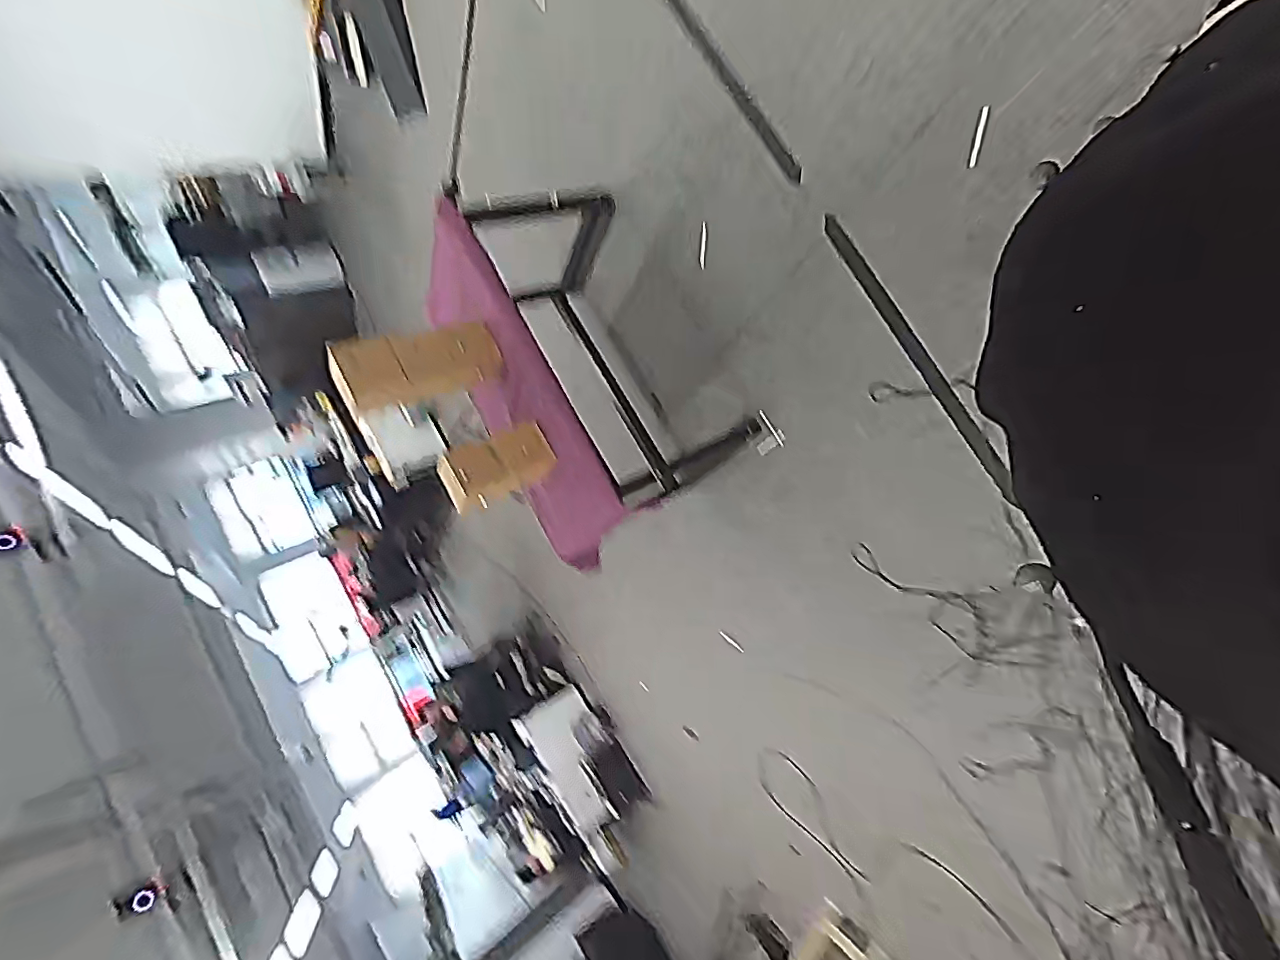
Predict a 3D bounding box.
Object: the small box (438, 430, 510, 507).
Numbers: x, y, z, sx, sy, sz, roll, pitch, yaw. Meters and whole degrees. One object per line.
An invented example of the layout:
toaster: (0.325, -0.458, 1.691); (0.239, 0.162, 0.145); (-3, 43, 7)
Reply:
small box: (-0.547, -0.040, 1.783); (0.168, 0.176, 0.179); (58, 149, 10)

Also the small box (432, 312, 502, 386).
small box: (-0.604, -0.459, 1.888); (0.179, 0.176, 0.168); (61, 147, 7)

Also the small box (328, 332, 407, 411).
small box: (-0.861, -0.349, 1.713); (0.179, 0.176, 0.168); (60, 148, 6)

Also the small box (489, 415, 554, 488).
small box: (-0.417, -0.102, 1.863); (0.168, 0.176, 0.179); (59, 149, 9)
